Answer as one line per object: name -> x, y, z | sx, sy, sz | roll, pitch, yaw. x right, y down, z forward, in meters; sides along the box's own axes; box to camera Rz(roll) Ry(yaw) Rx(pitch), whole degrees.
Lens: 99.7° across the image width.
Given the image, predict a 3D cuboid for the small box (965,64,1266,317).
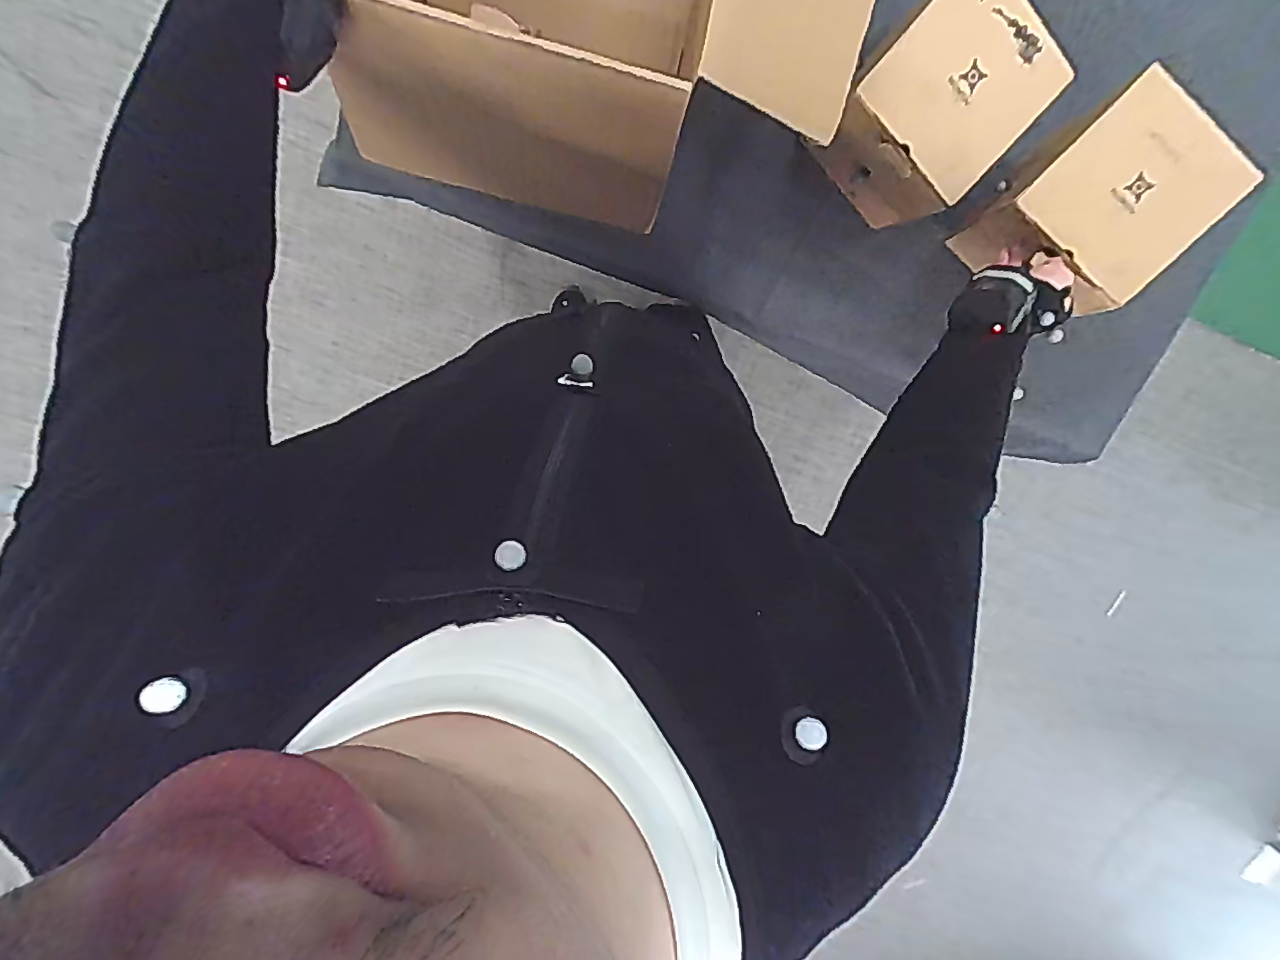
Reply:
small box -> 0.523, -0.313, 0.635 | 0.168, 0.176, 0.179 | 42, 102, -4
